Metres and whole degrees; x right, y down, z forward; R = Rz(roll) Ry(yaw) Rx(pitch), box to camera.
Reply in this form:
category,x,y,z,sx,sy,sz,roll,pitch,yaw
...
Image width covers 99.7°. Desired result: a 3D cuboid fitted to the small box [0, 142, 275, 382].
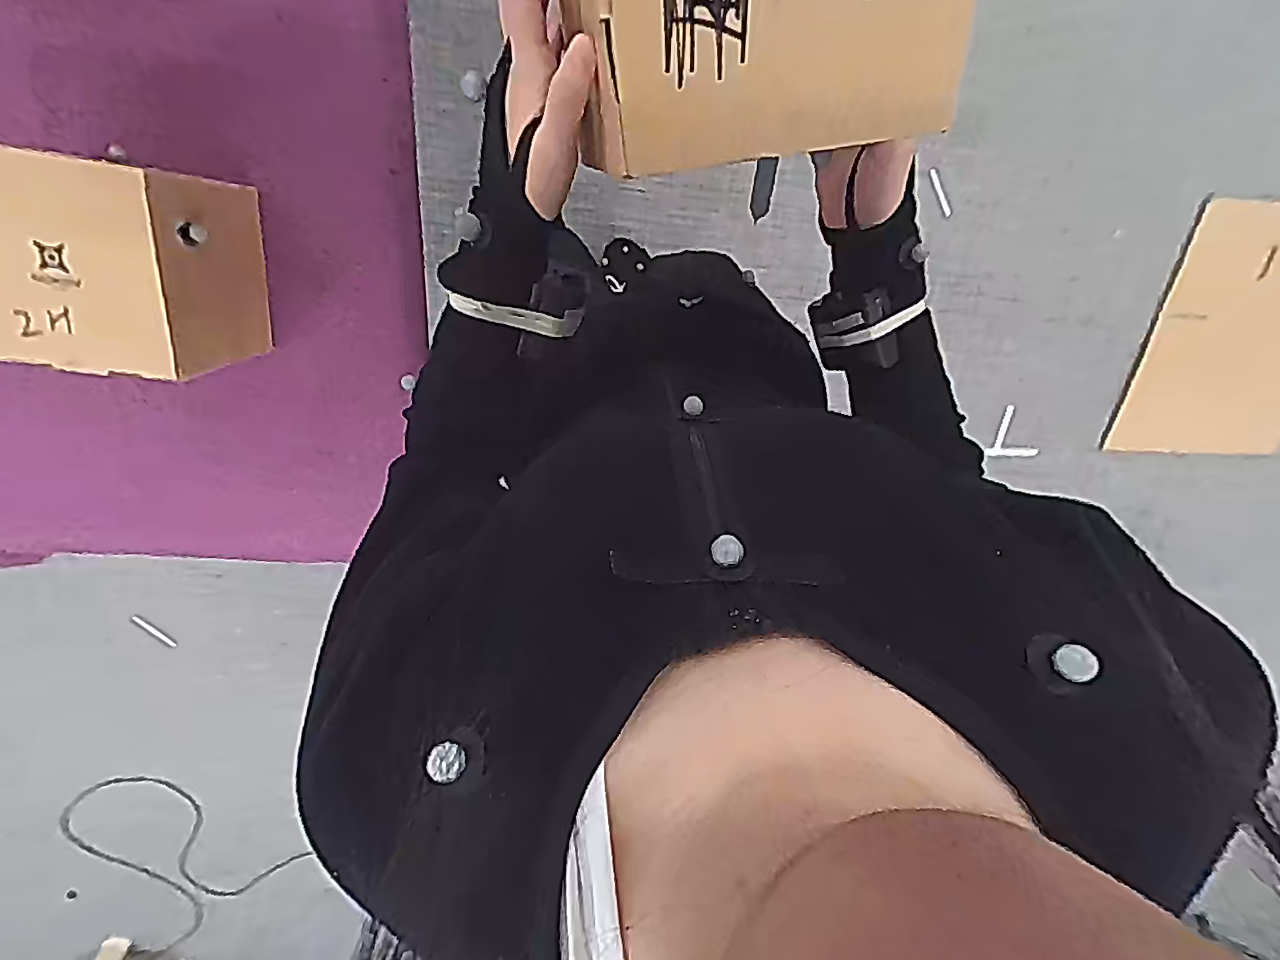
category,x,y,z,sx,sy,sz,roll,pitch,yaw
small box,-0.491,-0.209,0.527,0.168,0.176,0.179,6,113,-8

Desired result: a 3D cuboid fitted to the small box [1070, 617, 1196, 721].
category,x,y,z,sx,sy,sz,roll,pitch,yaw
small box,1.358,0.517,1.498,0.179,0.176,0.168,-36,111,11
